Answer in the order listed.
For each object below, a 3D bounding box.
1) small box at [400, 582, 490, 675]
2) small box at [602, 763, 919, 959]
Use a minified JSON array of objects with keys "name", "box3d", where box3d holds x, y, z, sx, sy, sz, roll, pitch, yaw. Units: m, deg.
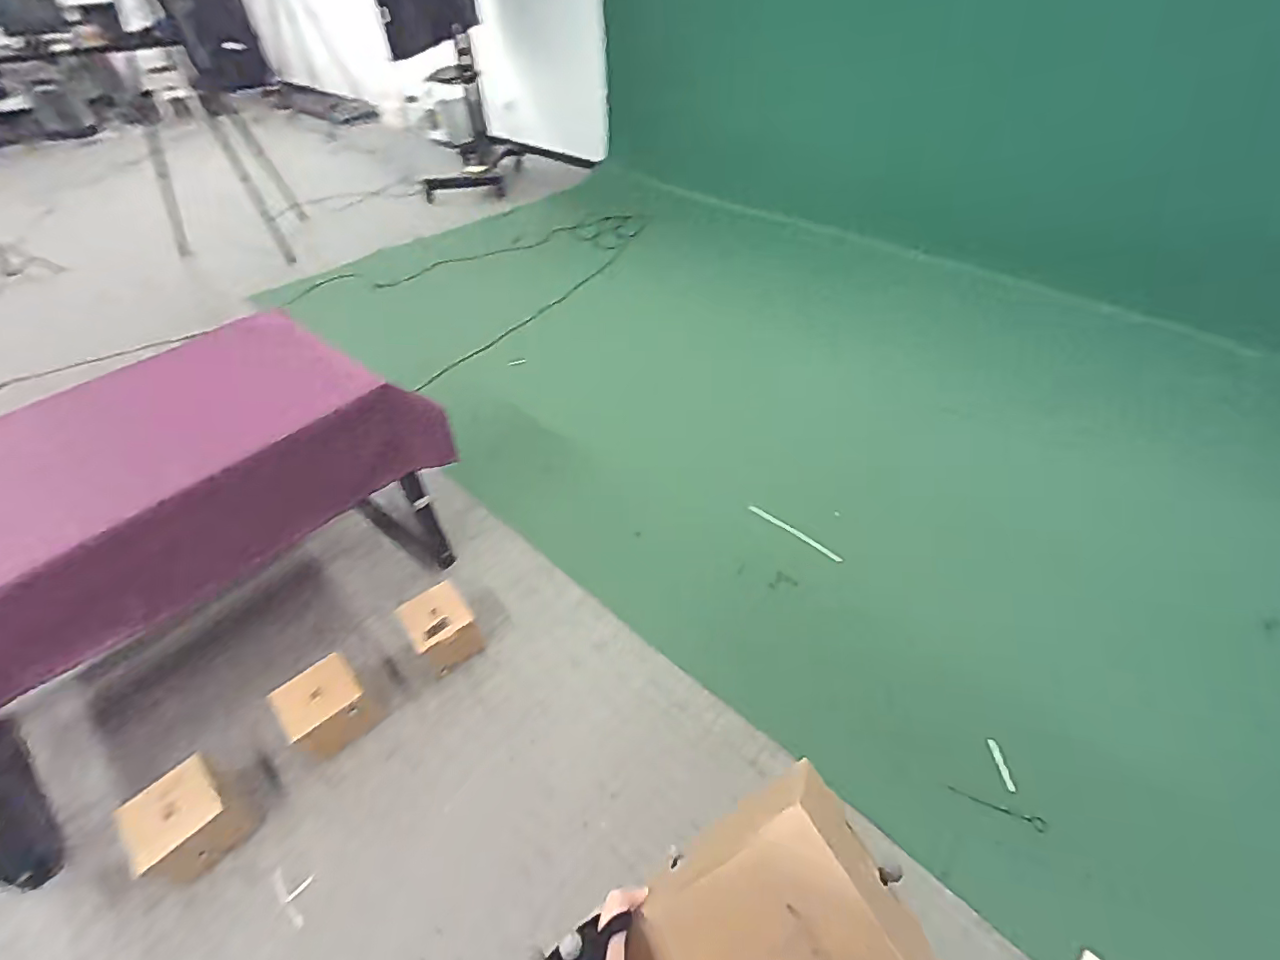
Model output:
[{"name":"small box","box3d":[-0.563,0.440,1.578,0.168,0.176,0.179,-32,48,-26]},{"name":"small box","box3d":[0.105,0.364,0.435,0.179,0.176,0.168,-38,67,5]}]
